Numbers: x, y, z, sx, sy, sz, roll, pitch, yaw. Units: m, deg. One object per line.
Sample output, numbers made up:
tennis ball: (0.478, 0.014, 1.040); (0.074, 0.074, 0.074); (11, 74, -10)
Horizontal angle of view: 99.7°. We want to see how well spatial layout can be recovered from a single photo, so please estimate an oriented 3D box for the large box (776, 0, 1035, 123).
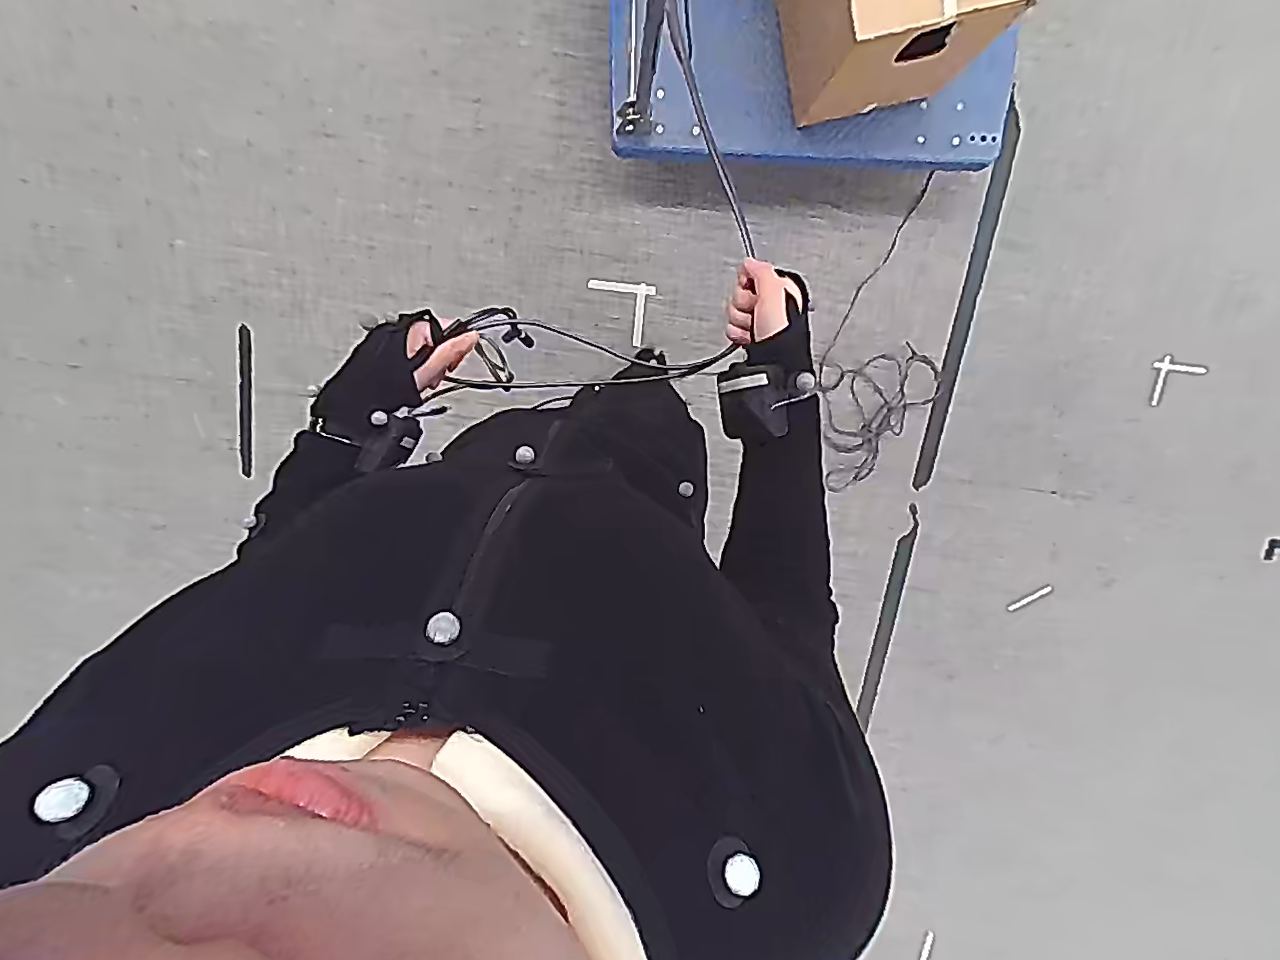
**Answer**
large box: (0.446, -0.965, 0.988); (0.320, 0.320, 0.408); (-14, 102, 1)
